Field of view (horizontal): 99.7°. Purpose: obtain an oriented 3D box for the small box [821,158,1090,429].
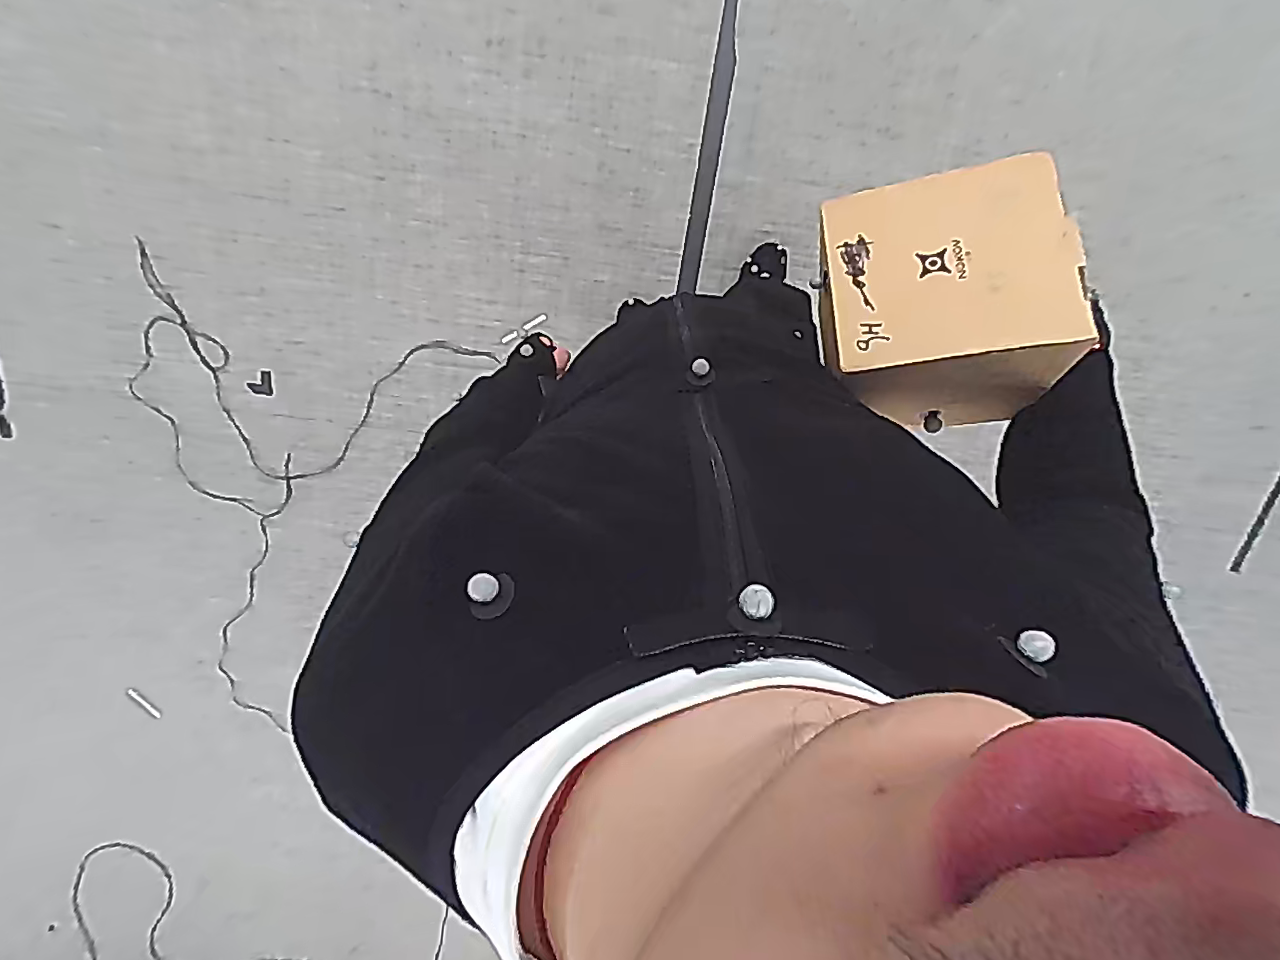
[{"bbox_3d":[0.273,-0.158,0.516,0.179,0.176,0.168,-5,74,16],"label":"small box"}]
